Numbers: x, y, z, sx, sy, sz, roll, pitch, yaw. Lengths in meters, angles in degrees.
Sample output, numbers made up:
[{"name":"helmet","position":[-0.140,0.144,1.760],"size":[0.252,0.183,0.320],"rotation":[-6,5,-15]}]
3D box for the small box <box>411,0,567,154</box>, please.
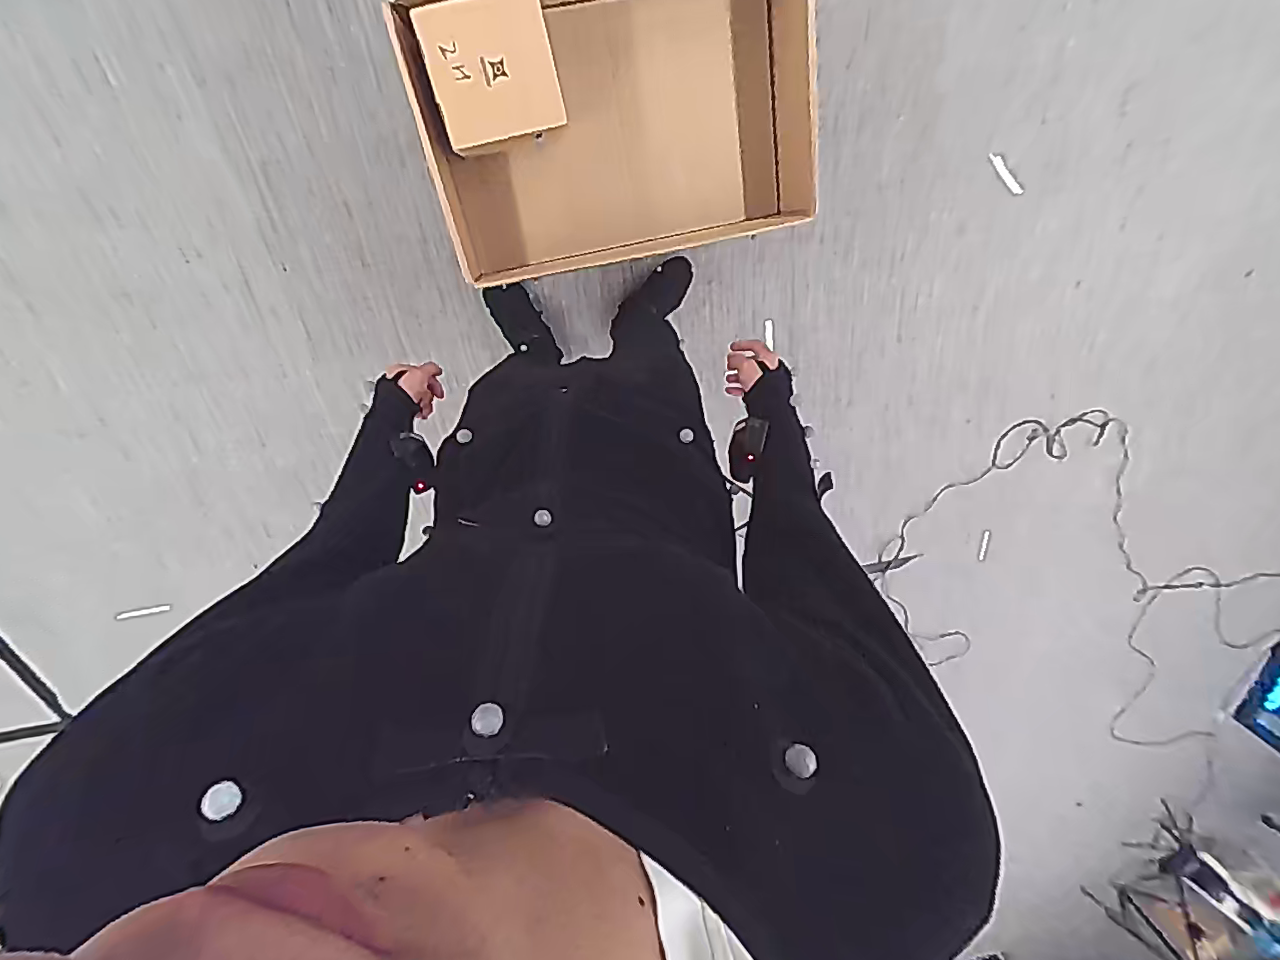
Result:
[{"name":"small box","position":[-0.219,-0.611,0.822],"size":[0.179,0.176,0.168],"rotation":[-15,118,-2]}]
